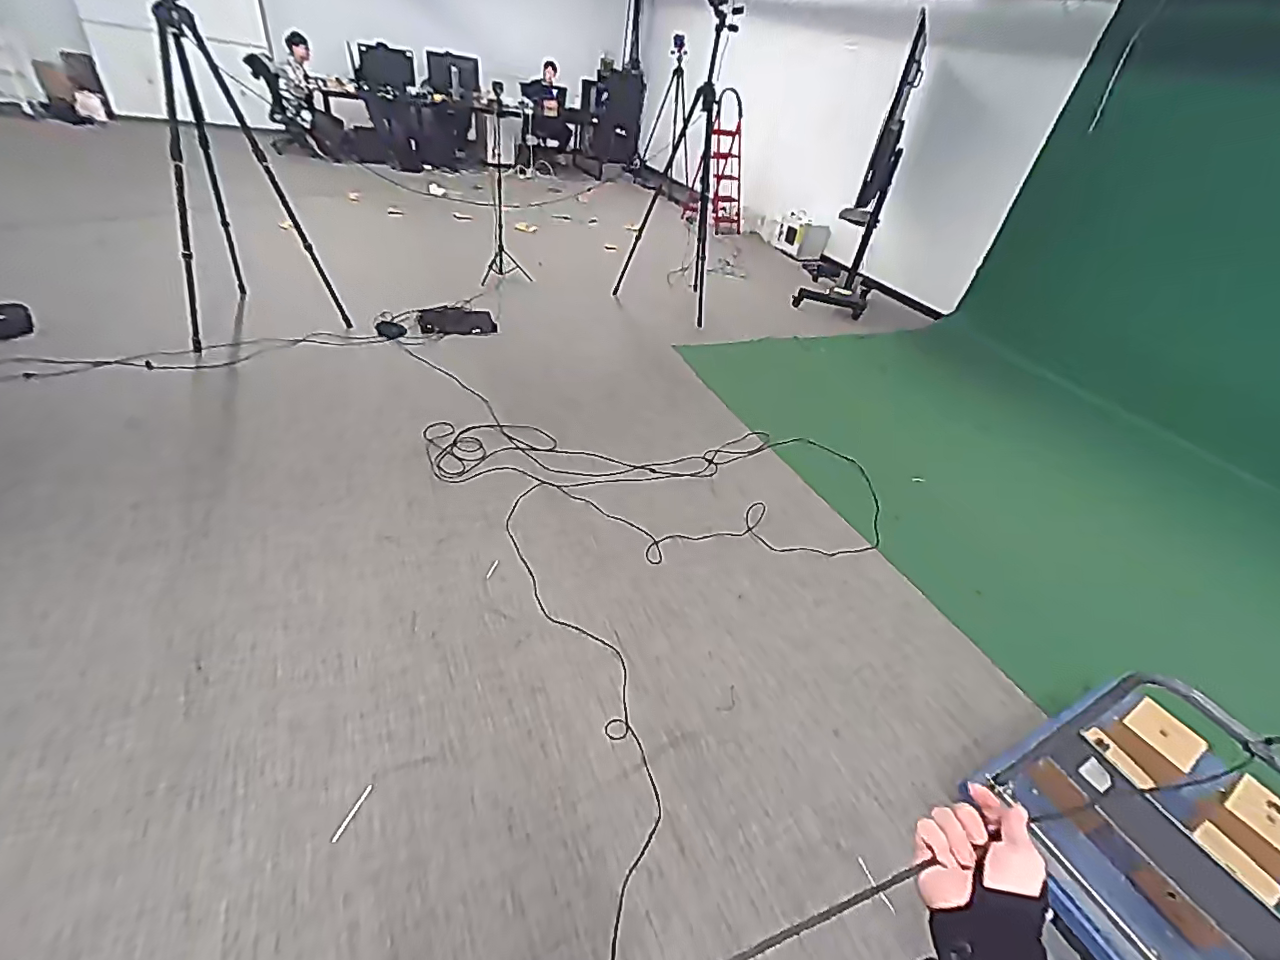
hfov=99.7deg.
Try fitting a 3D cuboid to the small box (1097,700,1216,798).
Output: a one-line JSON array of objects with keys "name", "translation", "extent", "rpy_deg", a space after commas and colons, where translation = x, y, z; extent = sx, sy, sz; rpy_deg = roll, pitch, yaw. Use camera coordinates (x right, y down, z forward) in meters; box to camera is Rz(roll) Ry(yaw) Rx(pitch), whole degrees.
[{"name": "small box", "translation": [1.498, 0.788, 1.582], "extent": [0.179, 0.176, 0.168], "rpy_deg": [-15, 45, -28]}]

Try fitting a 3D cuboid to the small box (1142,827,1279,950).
[{"name": "small box", "translation": [1.387, 0.988, 1.309], "extent": [0.179, 0.176, 0.168], "rpy_deg": [-12, 43, -24]}]

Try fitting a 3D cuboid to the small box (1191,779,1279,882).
[{"name": "small box", "translation": [1.627, 0.935, 1.423], "extent": [0.179, 0.176, 0.168], "rpy_deg": [-16, 44, -27]}]
